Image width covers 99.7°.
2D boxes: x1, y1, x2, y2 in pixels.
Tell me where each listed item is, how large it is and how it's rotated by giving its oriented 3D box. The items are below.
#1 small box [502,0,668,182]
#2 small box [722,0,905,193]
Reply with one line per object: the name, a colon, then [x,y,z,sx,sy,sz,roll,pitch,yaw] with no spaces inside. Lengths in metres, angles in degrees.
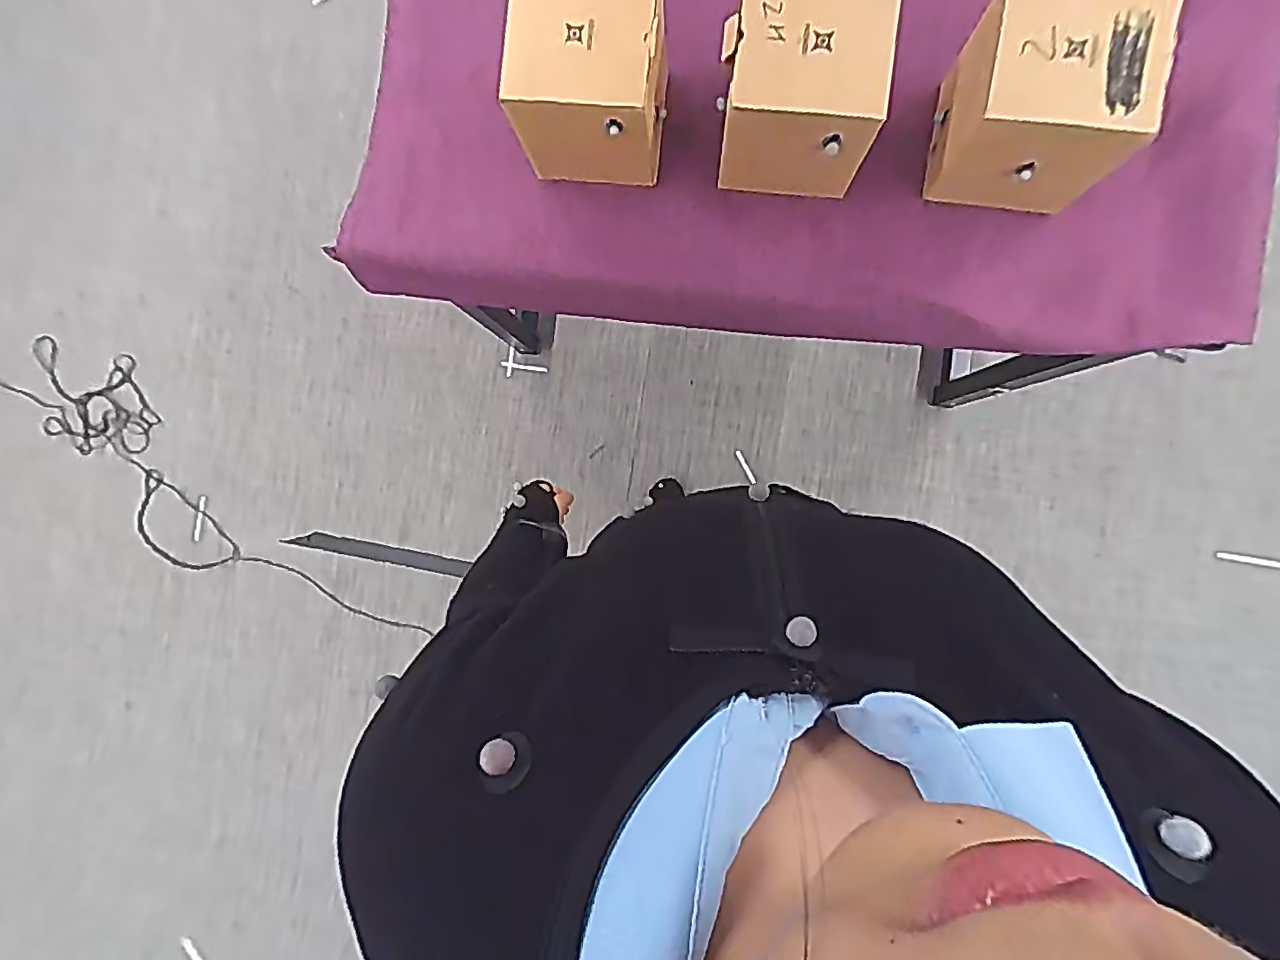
small box: [-0.061,-0.513,0.700,0.179,0.176,0.168,6,90,4]
small box: [0.204,-0.485,0.675,0.179,0.176,0.168,7,90,5]
